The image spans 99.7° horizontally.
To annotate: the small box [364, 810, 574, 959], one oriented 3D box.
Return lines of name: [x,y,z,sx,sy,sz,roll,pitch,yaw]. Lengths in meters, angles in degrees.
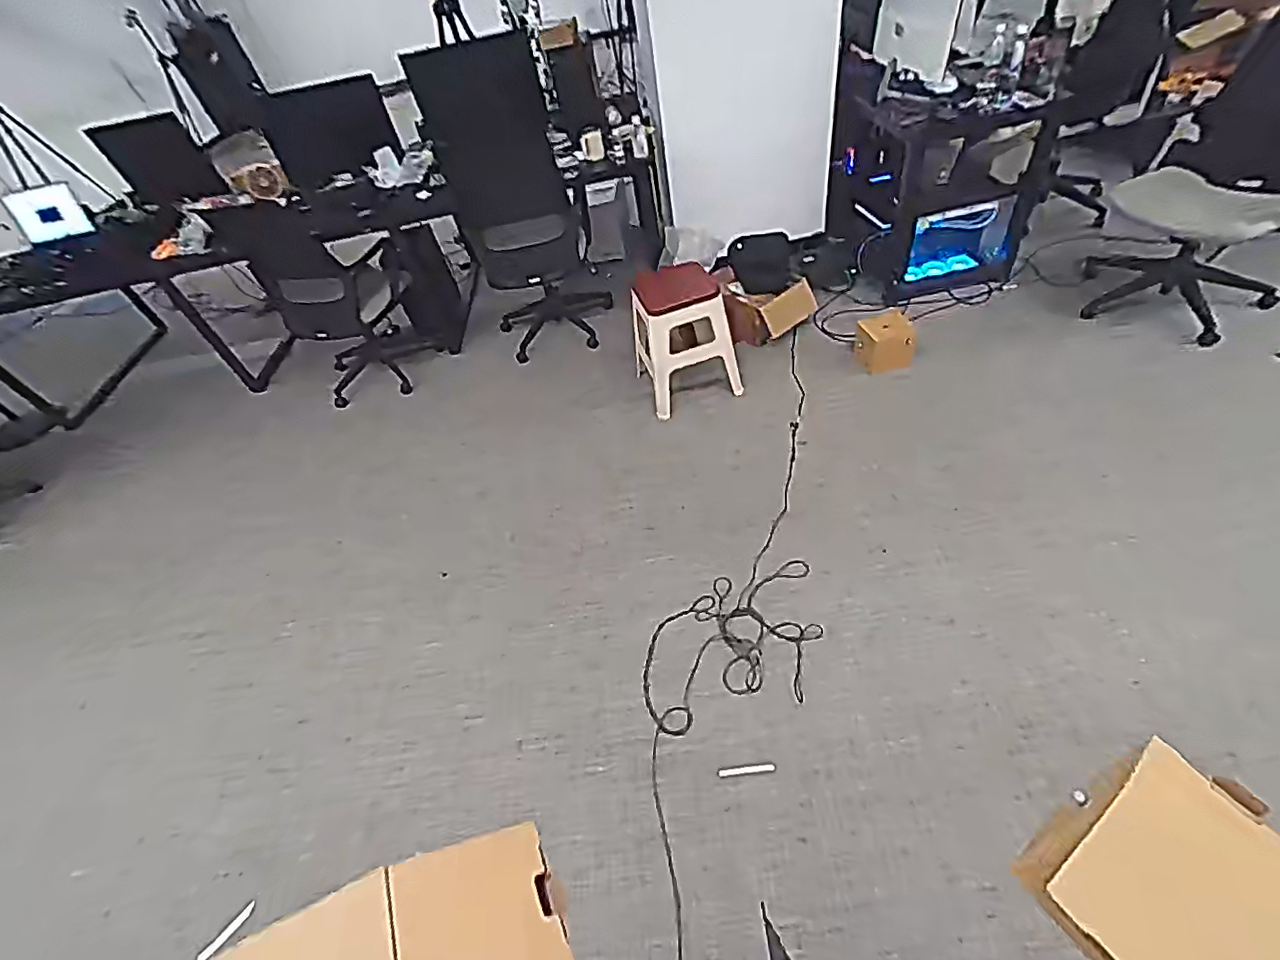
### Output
small box: [-0.203,0.518,0.609,0.179,0.176,0.168,6,34,-36]
